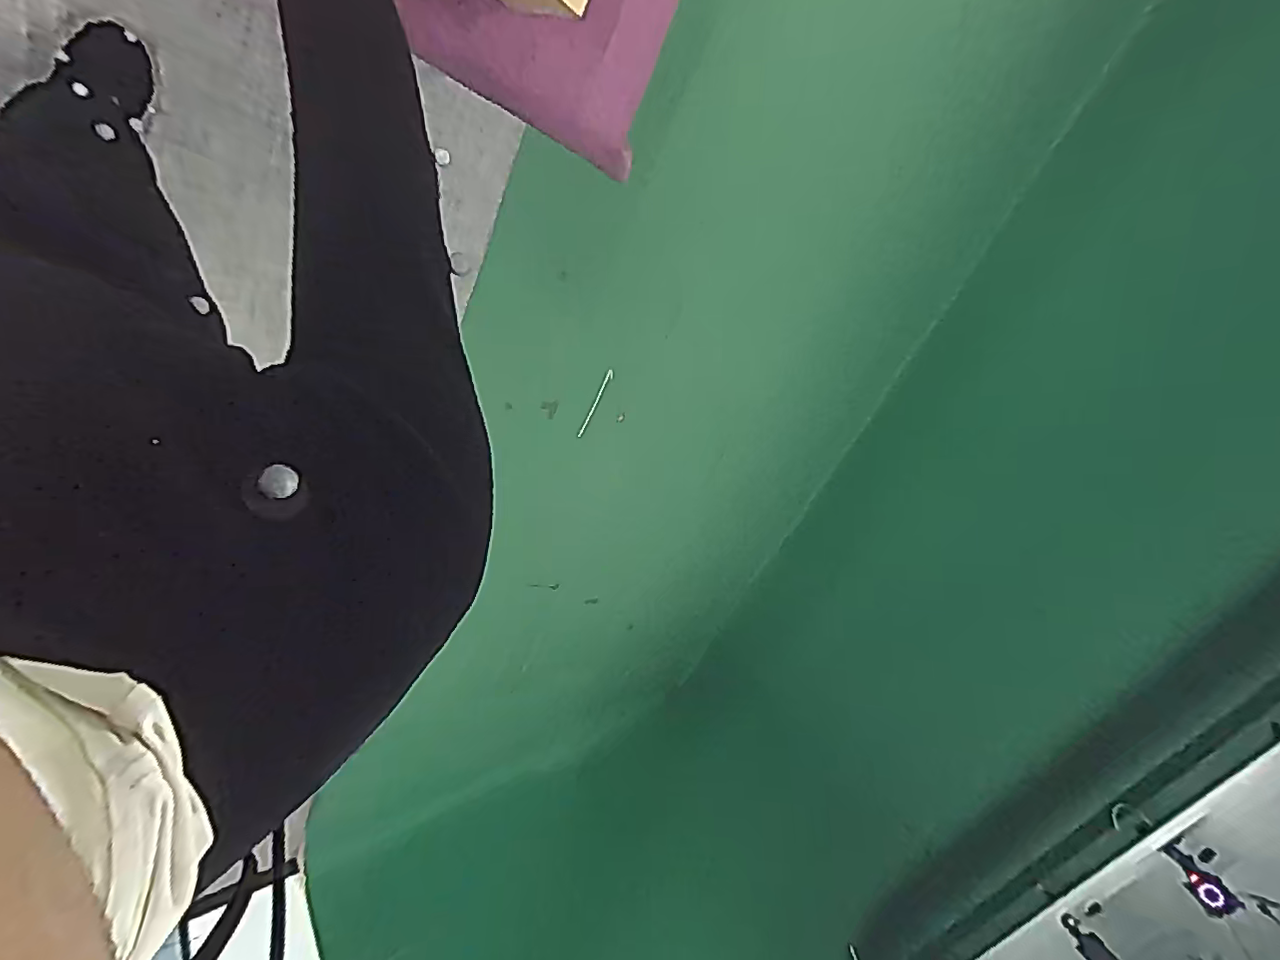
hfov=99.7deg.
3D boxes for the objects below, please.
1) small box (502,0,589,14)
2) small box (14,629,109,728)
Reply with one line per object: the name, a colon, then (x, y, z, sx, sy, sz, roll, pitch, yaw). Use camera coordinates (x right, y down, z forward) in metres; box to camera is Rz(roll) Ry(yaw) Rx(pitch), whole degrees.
small box: (-0.134, -0.618, 0.546, 0.179, 0.176, 0.168, 5, 121, -46)
small box: (-1.588, 0.539, 1.489, 0.168, 0.176, 0.179, 5, 122, -48)
